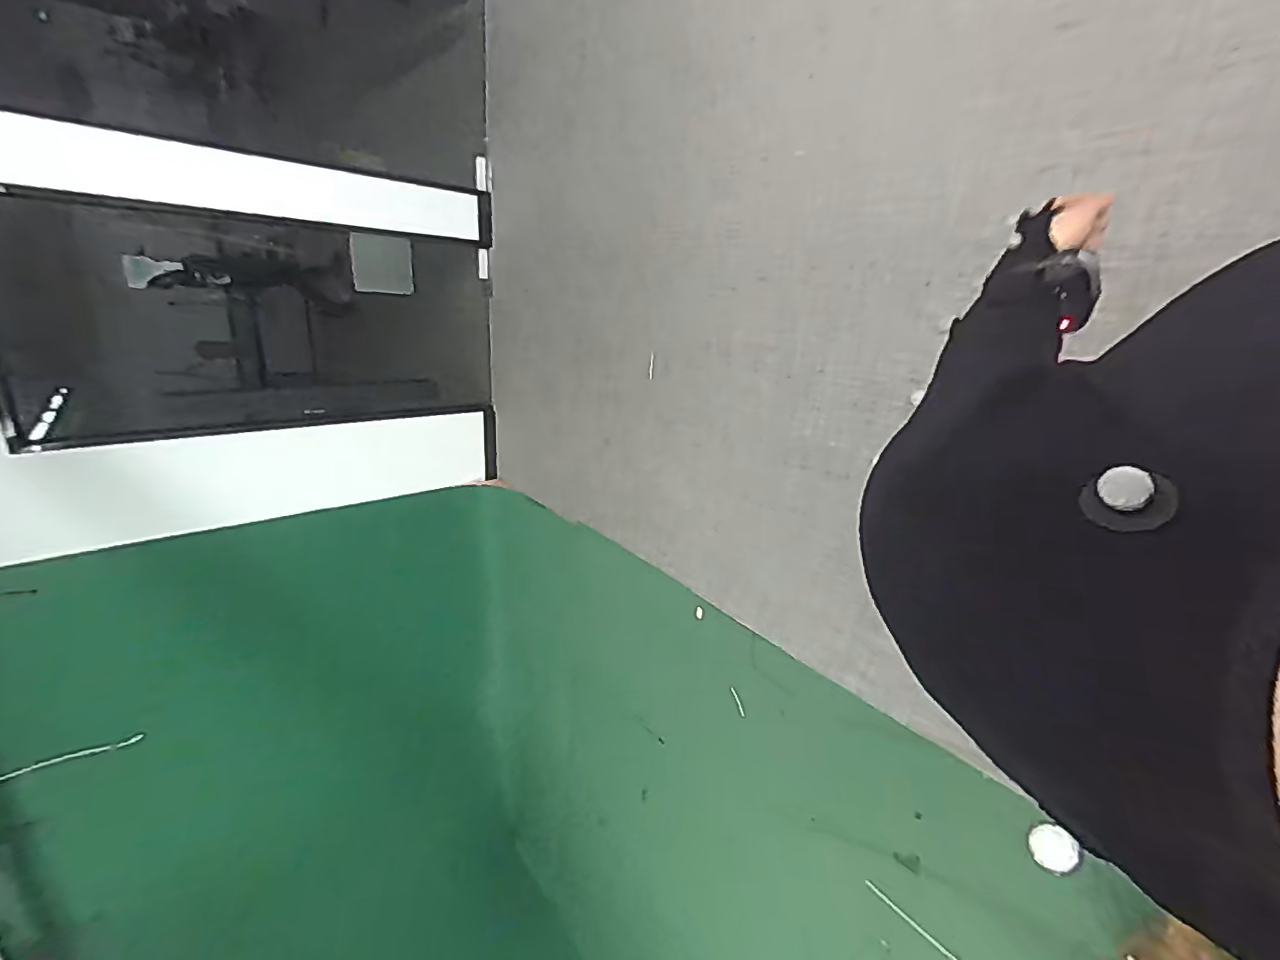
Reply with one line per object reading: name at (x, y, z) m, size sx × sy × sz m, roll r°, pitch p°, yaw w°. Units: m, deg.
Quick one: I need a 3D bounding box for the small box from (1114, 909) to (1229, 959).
small box at (1.158, 1.081, 1.163) m, size 0.168 × 0.176 × 0.179 m, roll 43°, pitch 130°, yaw 36°

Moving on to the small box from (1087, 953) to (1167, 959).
small box at (1.015, 1.094, 1.080) m, size 0.168 × 0.176 × 0.179 m, roll 60°, pitch 138°, yaw 22°
